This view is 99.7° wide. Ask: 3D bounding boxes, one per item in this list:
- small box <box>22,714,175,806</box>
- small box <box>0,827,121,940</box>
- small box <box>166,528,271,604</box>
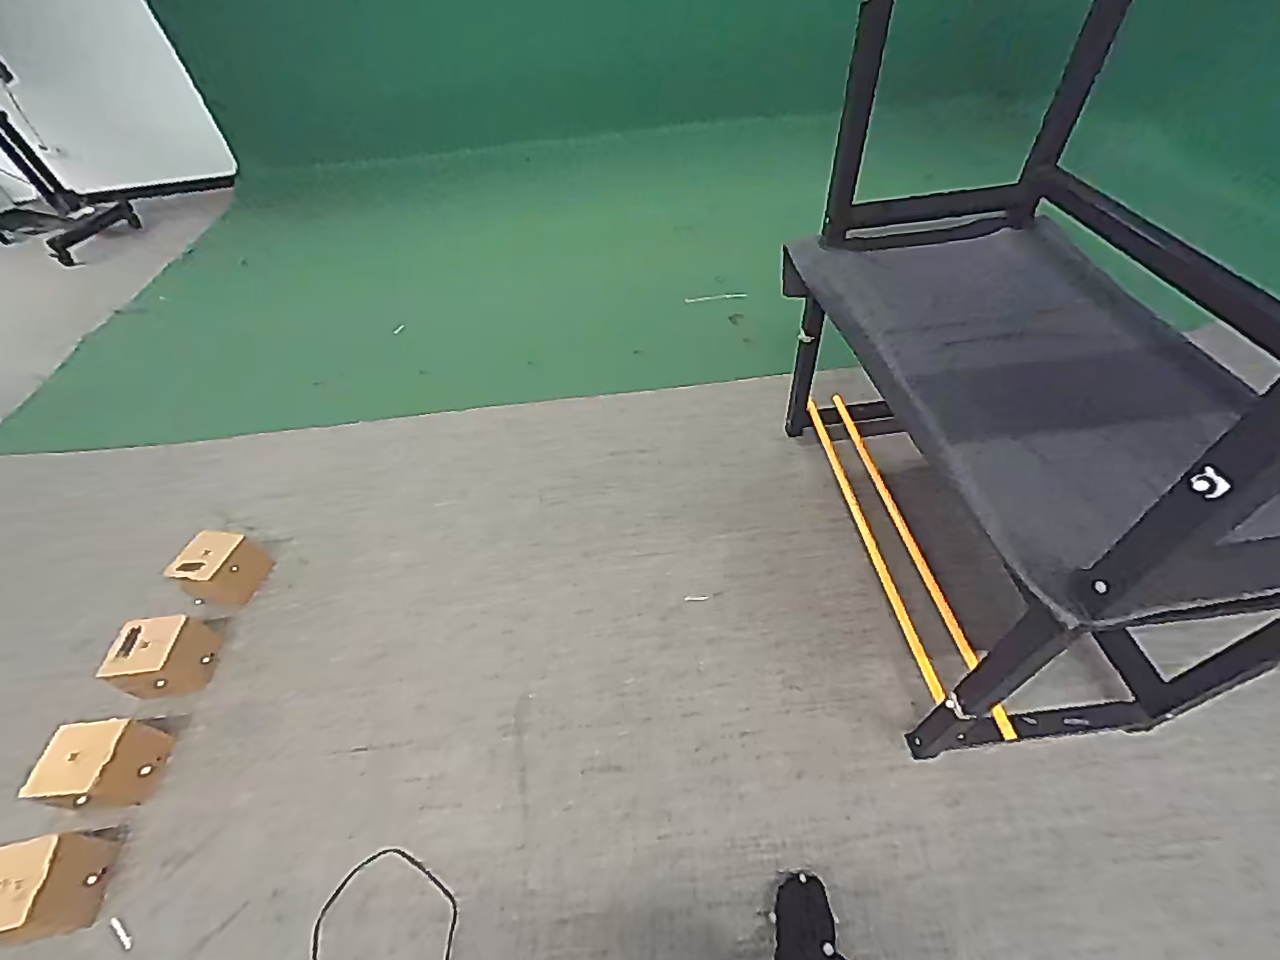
[{"bbox_3d":[-1.352,0.710,1.367,0.179,0.176,0.168,-5,49,0],"label":"small box"},{"bbox_3d":[-1.335,0.898,1.199,0.179,0.176,0.168,-12,50,-5],"label":"small box"},{"bbox_3d":[-1.342,0.278,1.740,0.168,0.176,0.179,5,48,9],"label":"small box"}]
